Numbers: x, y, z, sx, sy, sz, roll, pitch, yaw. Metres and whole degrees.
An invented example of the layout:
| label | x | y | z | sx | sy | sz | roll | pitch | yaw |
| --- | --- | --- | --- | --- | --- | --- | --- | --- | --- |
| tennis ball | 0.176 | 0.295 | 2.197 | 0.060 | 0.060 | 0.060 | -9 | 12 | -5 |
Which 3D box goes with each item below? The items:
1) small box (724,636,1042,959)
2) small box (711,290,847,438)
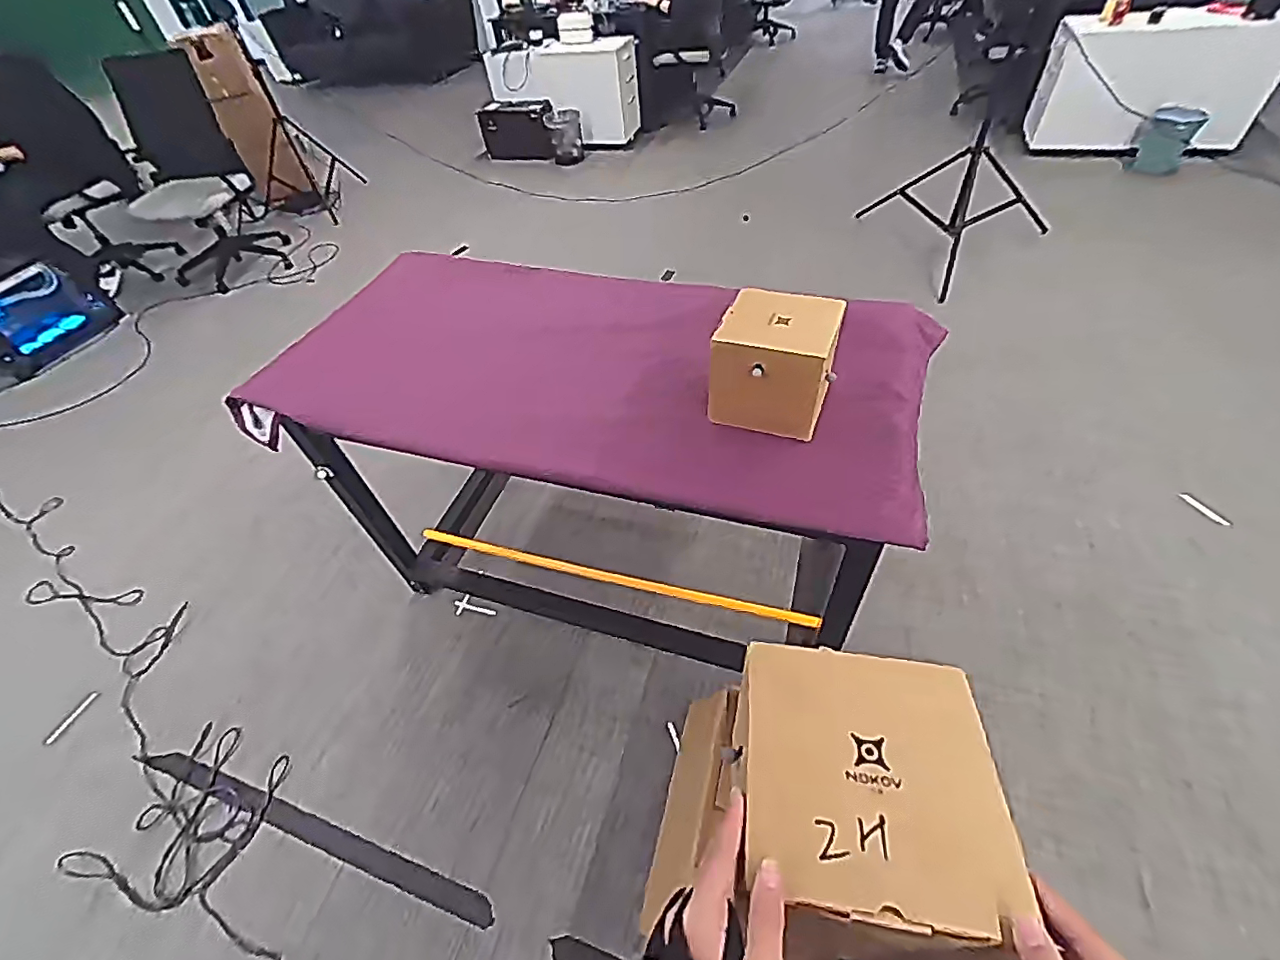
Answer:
| label | x | y | z | sx | sy | sz | roll | pitch | yaw |
| --- | --- | --- | --- | --- | --- | --- | --- | --- | --- |
| small box | 0.155 | 0.253 | 0.419 | 0.168 | 0.176 | 0.179 | 5 | 40 | 9 |
| small box | 0.228 | -0.191 | 0.904 | 0.179 | 0.176 | 0.168 | 14 | 50 | 20 |
